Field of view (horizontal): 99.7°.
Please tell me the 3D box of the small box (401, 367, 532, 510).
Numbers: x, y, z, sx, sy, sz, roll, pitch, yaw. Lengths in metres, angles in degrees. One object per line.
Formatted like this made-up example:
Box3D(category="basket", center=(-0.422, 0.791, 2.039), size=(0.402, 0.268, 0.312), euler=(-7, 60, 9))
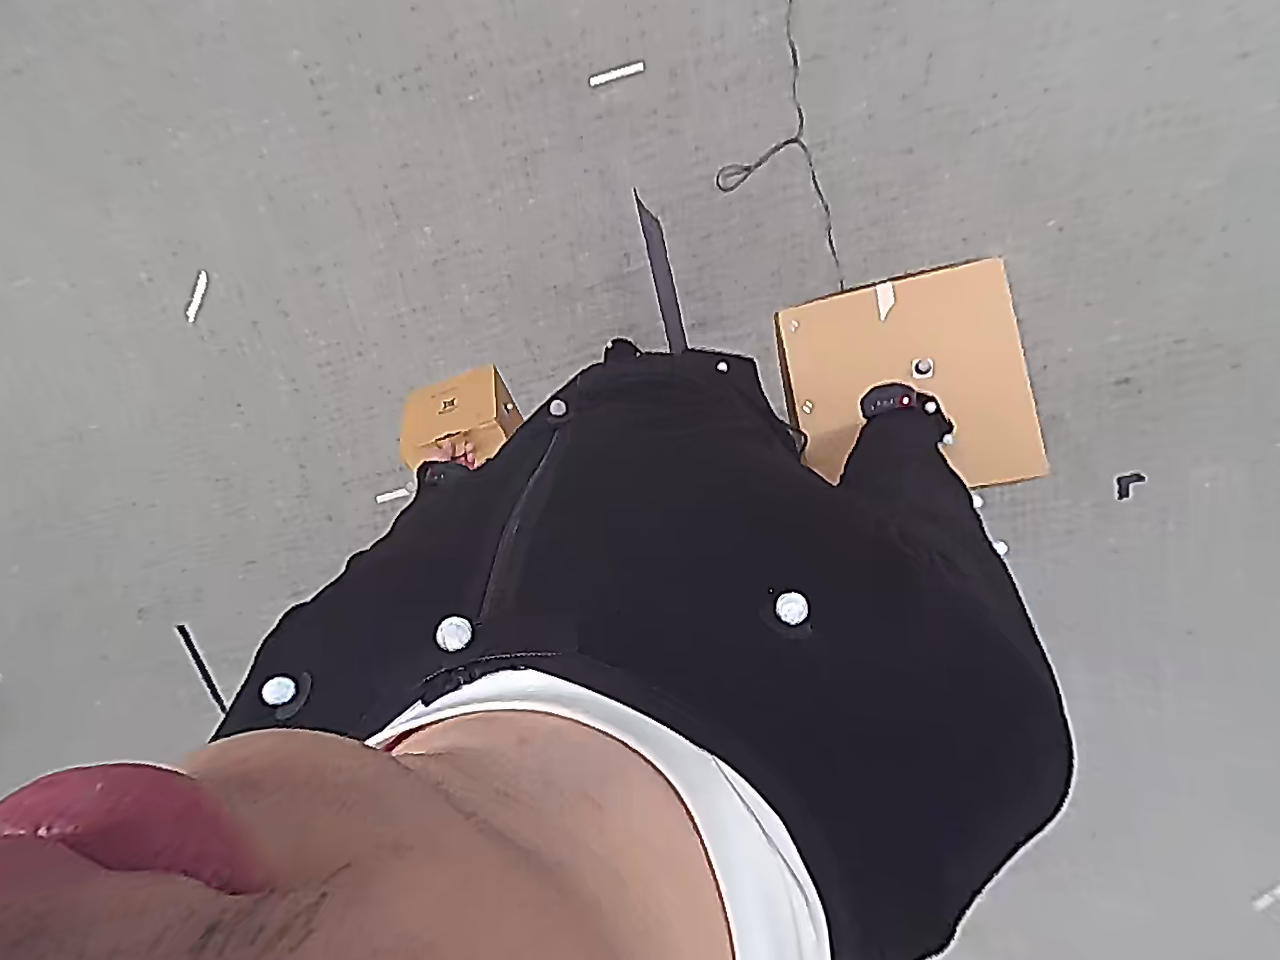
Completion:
Box3D(category="small box", center=(-0.302, -0.067, 0.975), size=(0.168, 0.179, 0.176), euler=(-19, 133, 1))
